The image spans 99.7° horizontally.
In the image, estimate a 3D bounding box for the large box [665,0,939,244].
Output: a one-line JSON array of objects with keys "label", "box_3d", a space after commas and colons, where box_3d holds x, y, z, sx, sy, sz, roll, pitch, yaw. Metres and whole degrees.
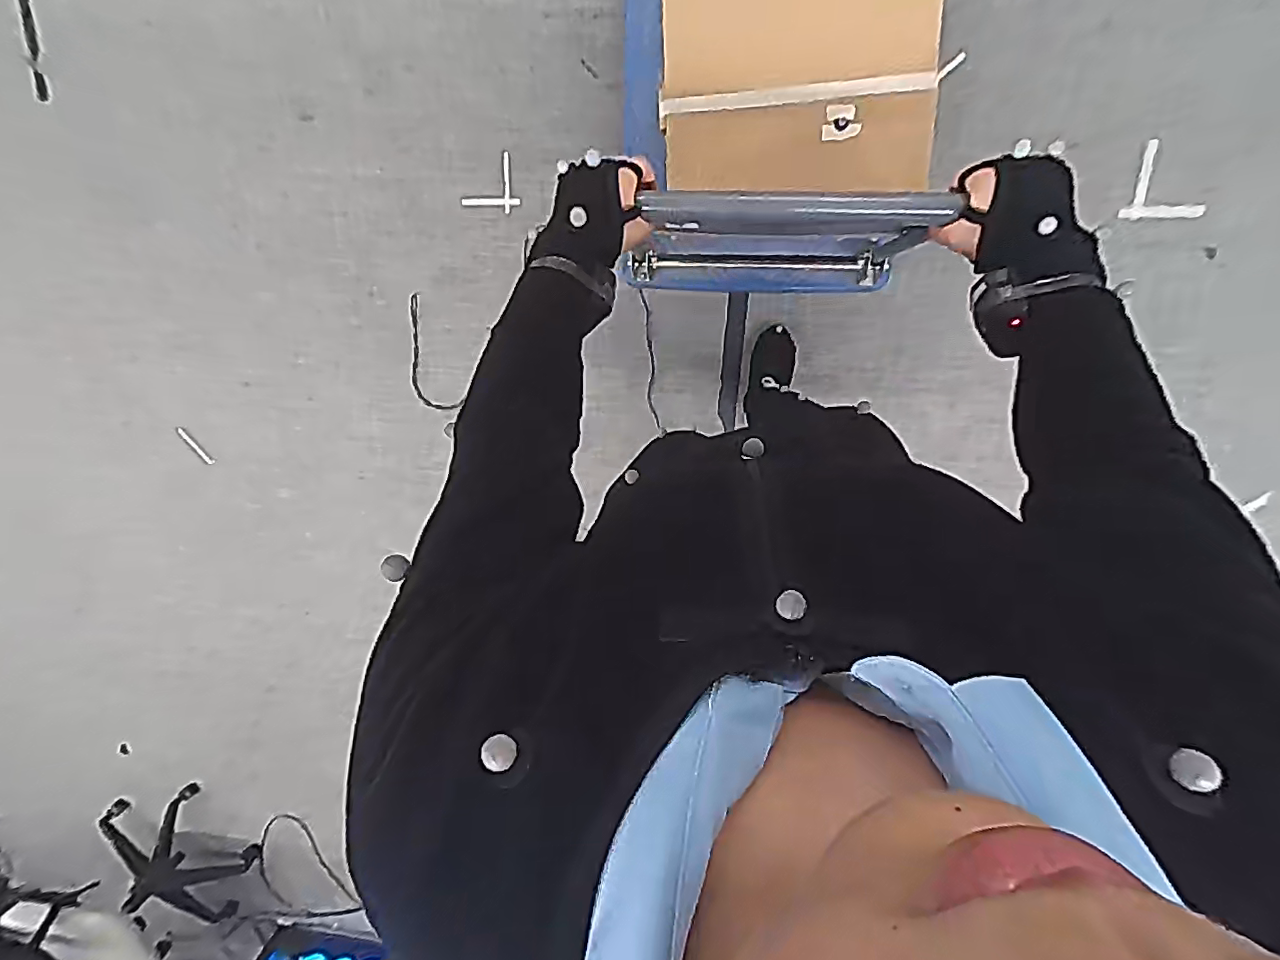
[{"label": "large box", "box_3d": [0.258, -0.628, 0.978, 0.408, 0.320, 0.320, -1, 106, 6]}]
